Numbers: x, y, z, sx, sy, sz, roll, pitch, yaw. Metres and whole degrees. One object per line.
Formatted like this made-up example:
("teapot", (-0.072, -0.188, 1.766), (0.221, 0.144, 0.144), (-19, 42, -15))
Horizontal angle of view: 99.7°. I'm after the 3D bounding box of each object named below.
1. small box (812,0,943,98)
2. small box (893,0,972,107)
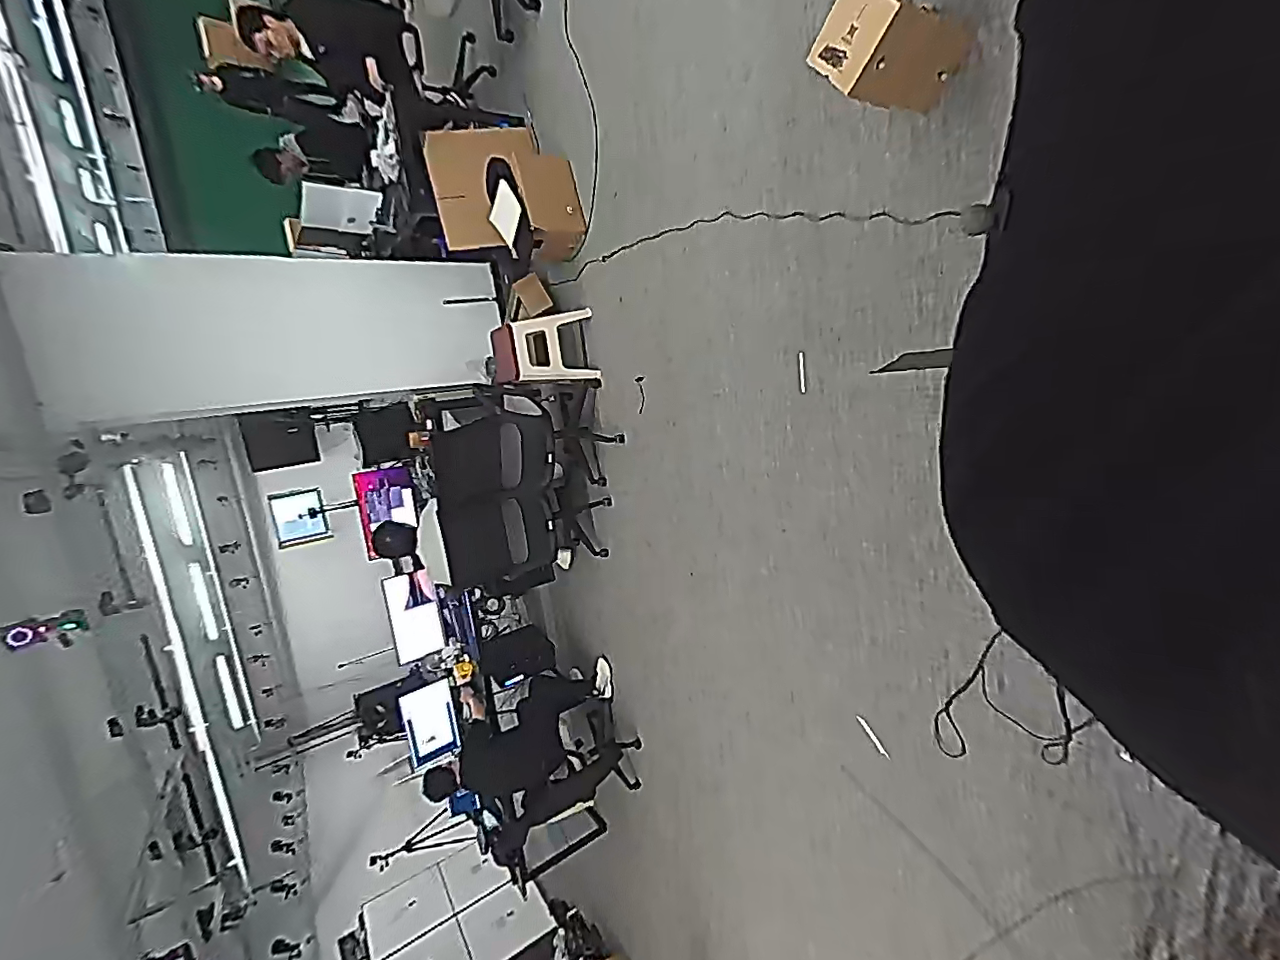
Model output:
("small box", (0.536, -1.007, 1.226), (0.168, 0.176, 0.179), (61, 144, 23))
("small box", (0.668, -1.052, 1.316), (0.168, 0.176, 0.179), (60, 144, 25))
